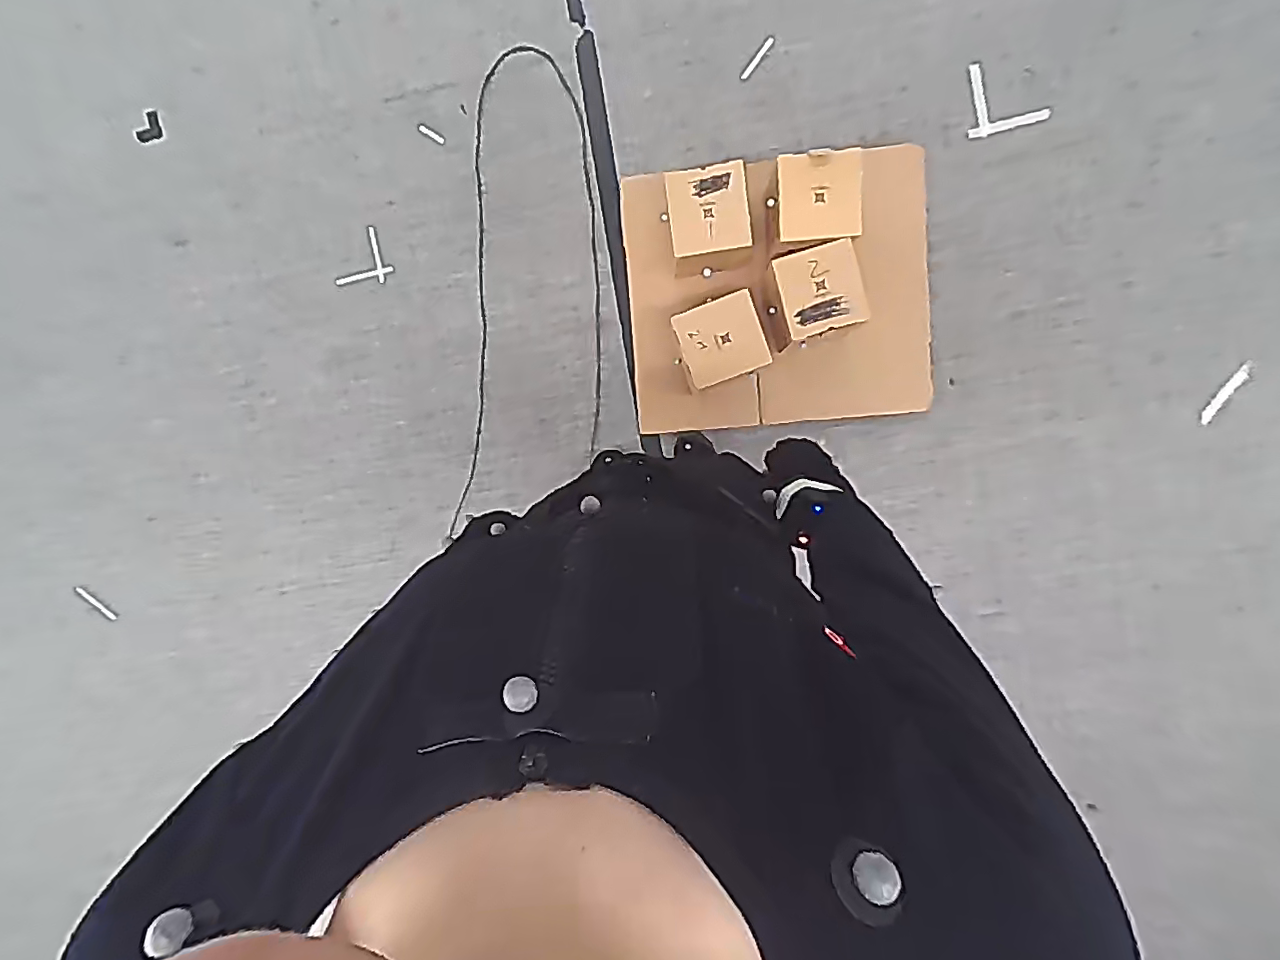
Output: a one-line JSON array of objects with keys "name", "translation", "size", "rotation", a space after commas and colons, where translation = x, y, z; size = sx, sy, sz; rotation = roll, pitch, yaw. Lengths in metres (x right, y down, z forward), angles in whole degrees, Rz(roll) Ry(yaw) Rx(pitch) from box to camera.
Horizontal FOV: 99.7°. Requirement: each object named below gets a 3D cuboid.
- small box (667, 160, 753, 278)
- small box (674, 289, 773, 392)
[{"name": "small box", "translation": [0.150, -0.572, 1.204], "size": [0.168, 0.176, 0.179], "rotation": [-7, 95, 5]}, {"name": "small box", "translation": [0.181, -0.307, 1.225], "size": [0.179, 0.176, 0.168], "rotation": [-19, 93, 5]}]
